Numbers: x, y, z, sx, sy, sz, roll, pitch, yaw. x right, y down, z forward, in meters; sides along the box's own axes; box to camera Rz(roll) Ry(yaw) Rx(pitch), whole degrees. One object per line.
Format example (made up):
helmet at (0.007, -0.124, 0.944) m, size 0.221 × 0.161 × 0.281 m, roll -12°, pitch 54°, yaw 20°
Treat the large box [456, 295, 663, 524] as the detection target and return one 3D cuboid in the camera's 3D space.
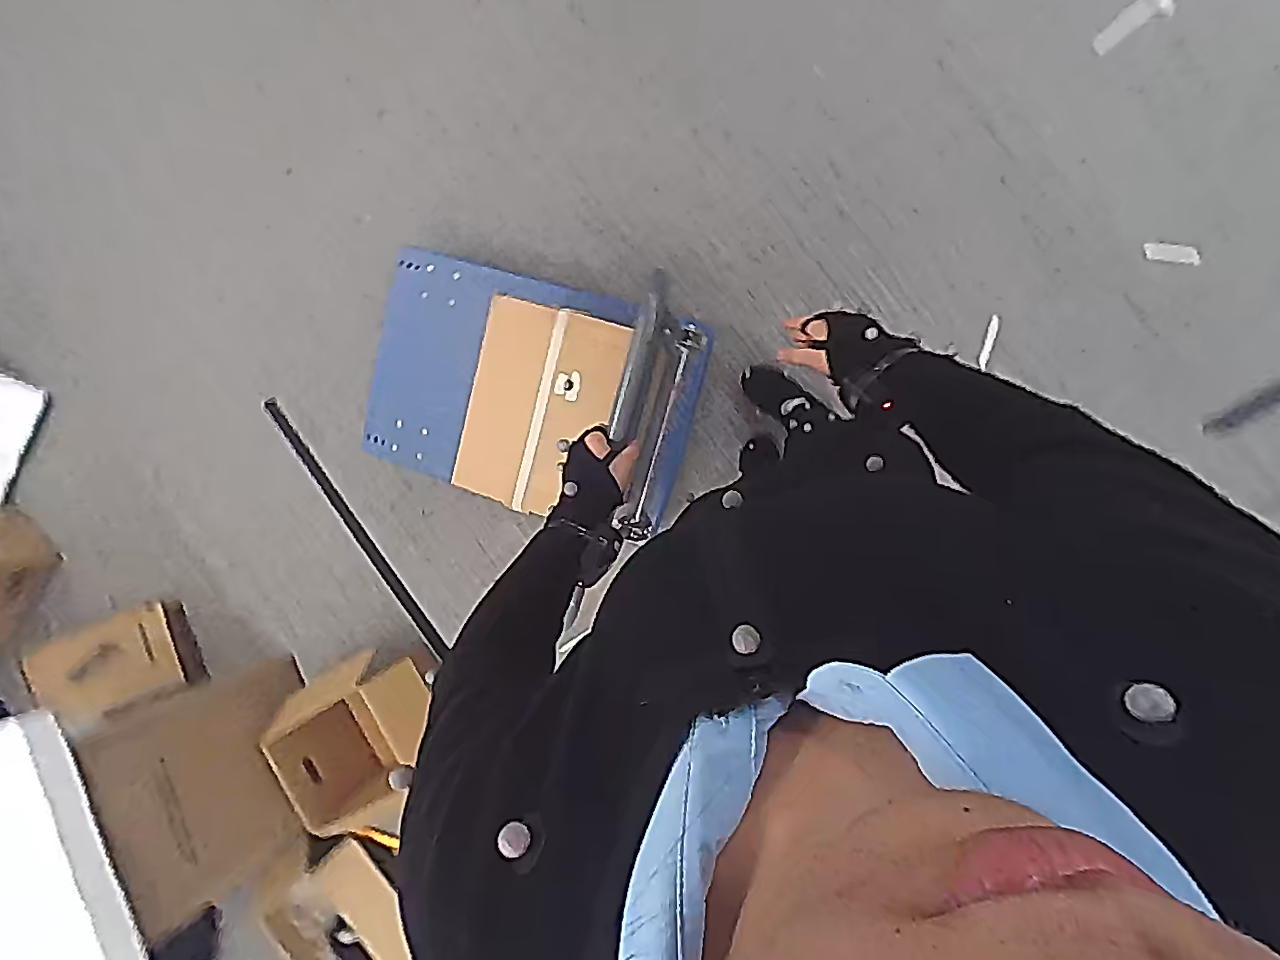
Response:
large box at (-0.164, -0.152, 1.221) m, size 0.320 × 0.320 × 0.408 m, roll 17°, pitch 99°, yaw 10°
